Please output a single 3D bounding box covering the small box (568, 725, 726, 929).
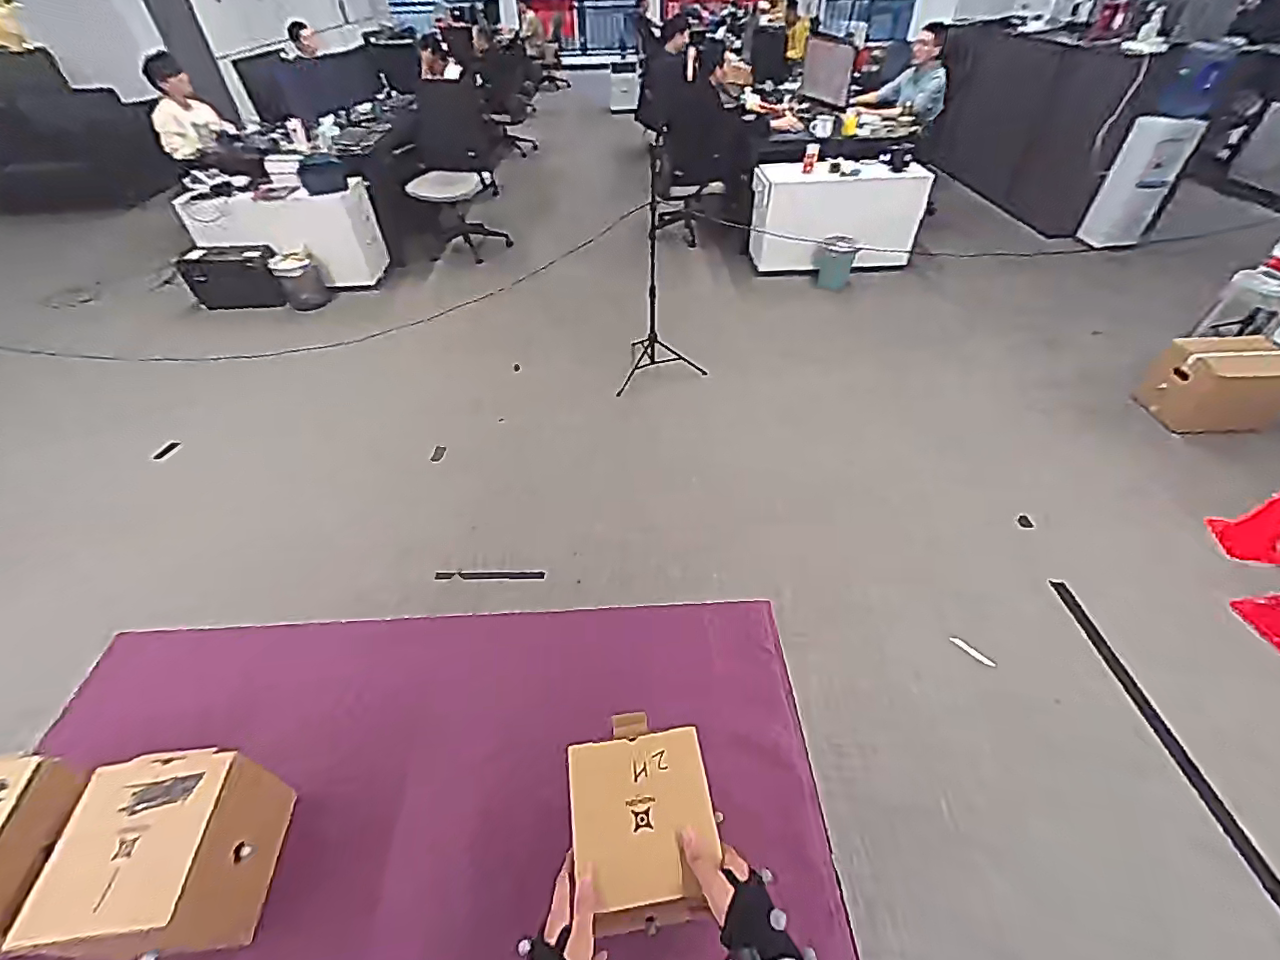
[{"bbox_3d":[0.004,0.437,0.677,0.168,0.176,0.179,-7,44,-5],"label":"small box"}]

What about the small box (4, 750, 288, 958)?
[{"bbox_3d":[-0.577,0.462,0.671,0.168,0.176,0.179,-5,45,-3],"label":"small box"}]
